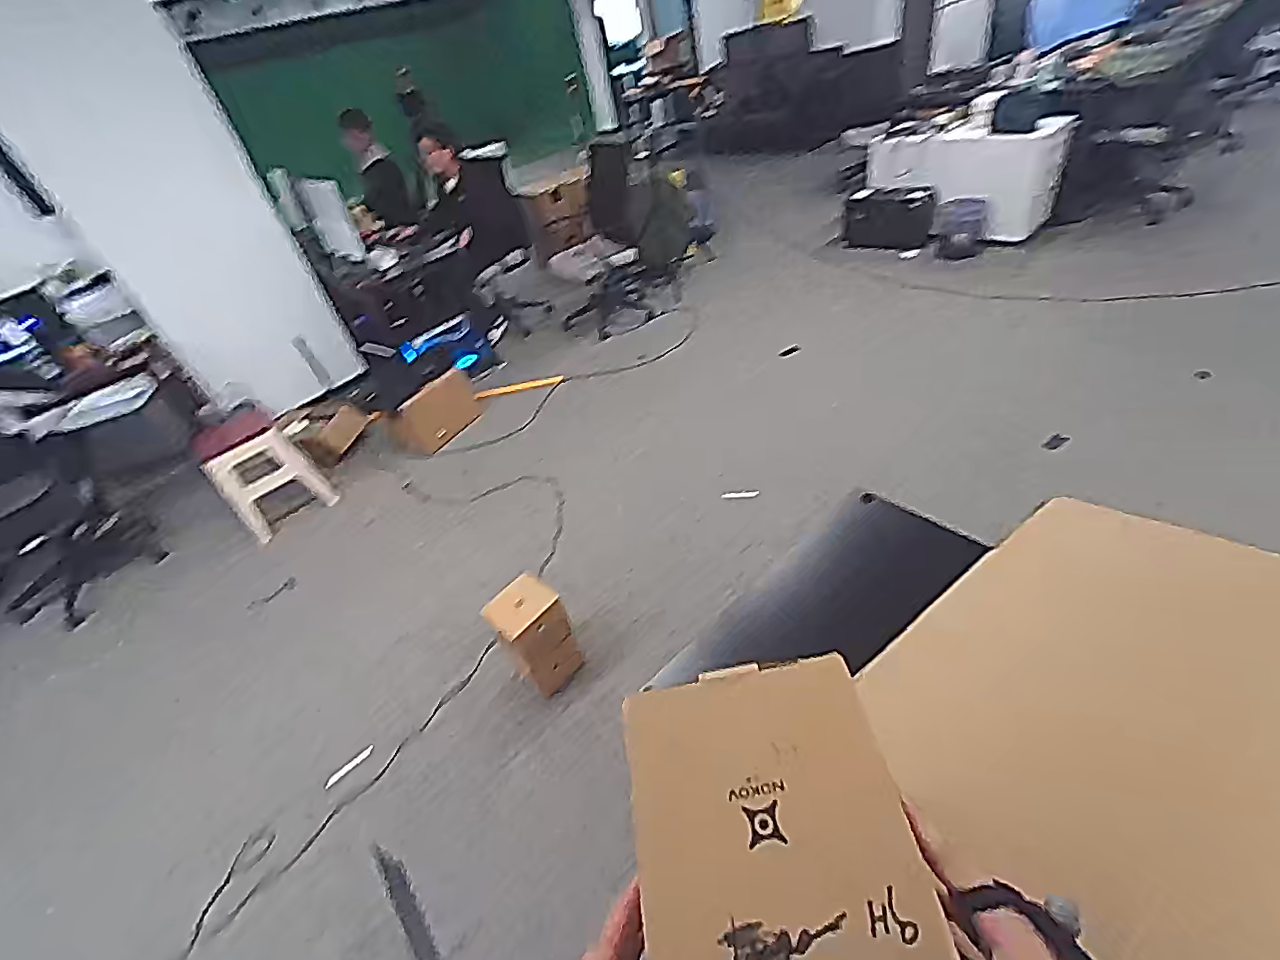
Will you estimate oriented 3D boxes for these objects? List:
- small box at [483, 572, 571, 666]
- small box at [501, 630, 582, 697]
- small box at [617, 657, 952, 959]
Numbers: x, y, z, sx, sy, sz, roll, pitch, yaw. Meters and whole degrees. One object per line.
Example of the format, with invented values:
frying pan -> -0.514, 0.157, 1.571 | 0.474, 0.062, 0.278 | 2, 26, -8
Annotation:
small box -> -0.329, 0.416, 1.609 | 0.168, 0.176, 0.179 | 25, 52, 36
small box -> -0.302, 0.541, 1.710 | 0.179, 0.176, 0.168 | -39, 46, -26
small box -> 0.086, 0.260, 0.394 | 0.168, 0.176, 0.179 | -14, 46, 3
